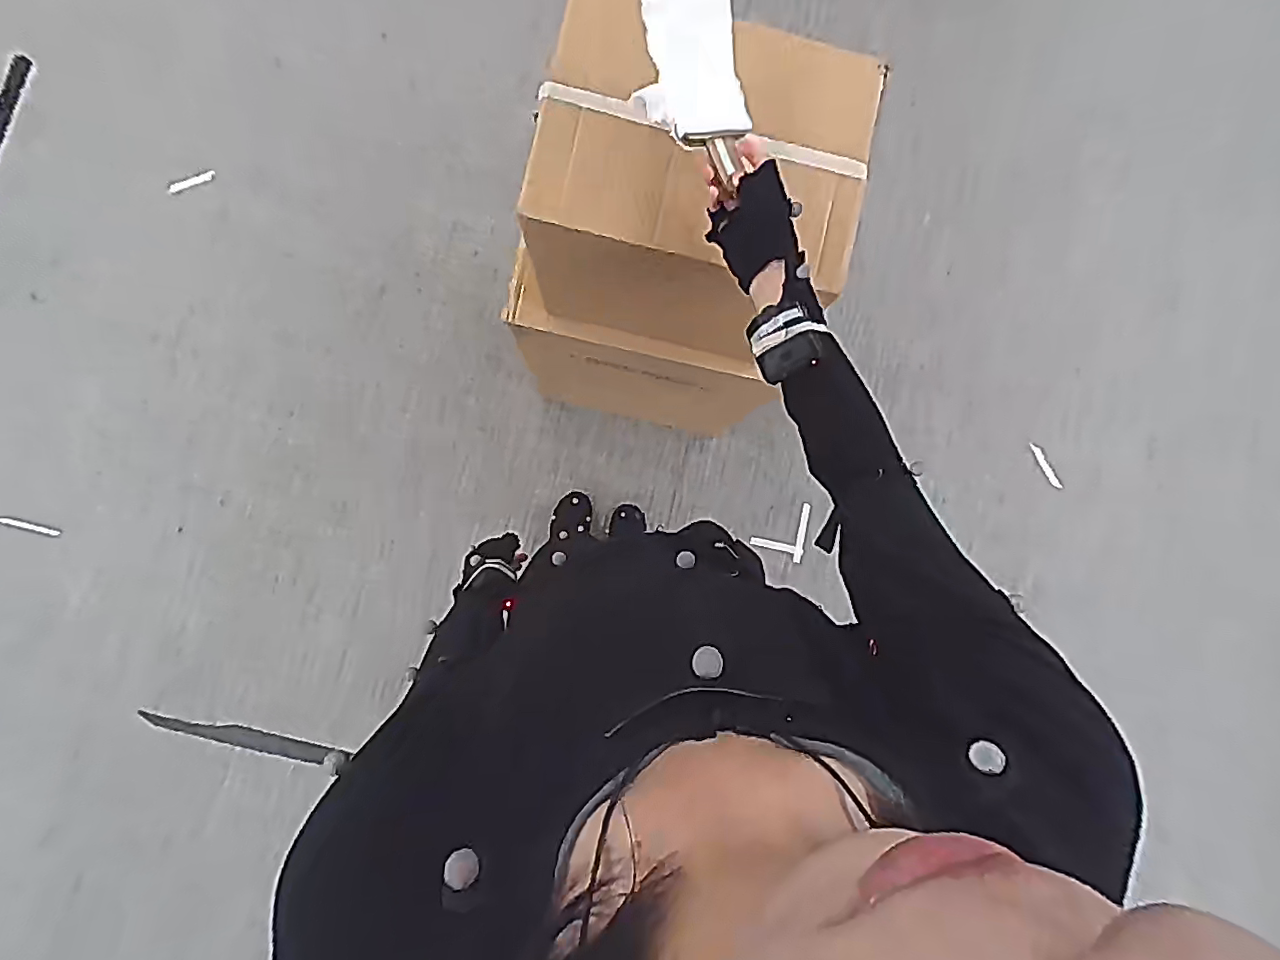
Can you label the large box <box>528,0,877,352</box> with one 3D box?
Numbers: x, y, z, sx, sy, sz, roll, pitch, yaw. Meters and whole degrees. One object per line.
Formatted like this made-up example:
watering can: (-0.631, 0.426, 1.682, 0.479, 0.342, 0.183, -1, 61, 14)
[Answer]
large box: (0.071, -0.422, 0.820, 0.408, 0.320, 0.320, 12, 86, -4)
